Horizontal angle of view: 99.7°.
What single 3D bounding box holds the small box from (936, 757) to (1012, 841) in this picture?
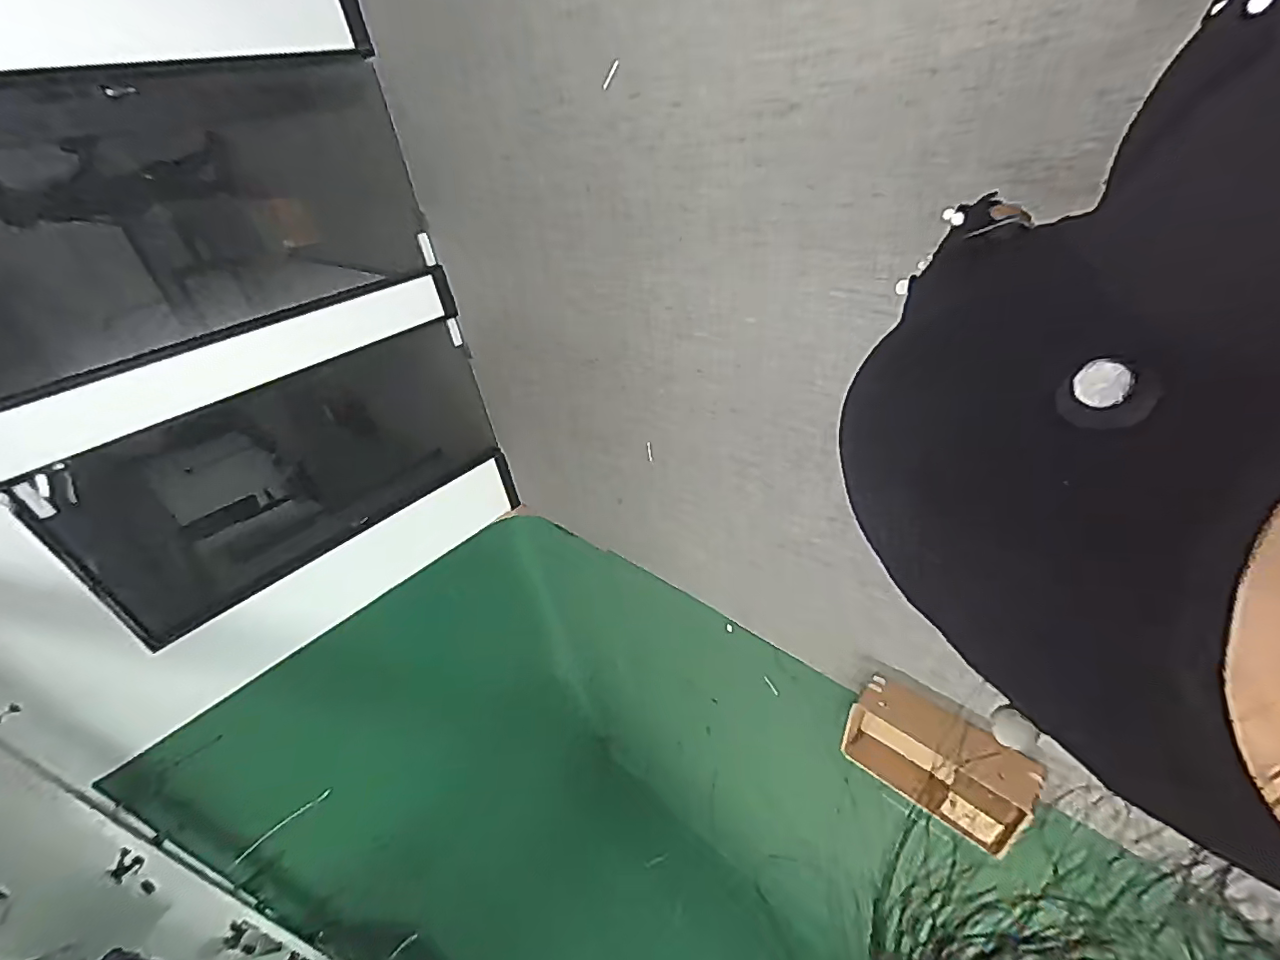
[{"bbox_3d":[1.221,1.159,1.973,0.179,0.176,0.168,26,136,34],"label":"small box"}]
